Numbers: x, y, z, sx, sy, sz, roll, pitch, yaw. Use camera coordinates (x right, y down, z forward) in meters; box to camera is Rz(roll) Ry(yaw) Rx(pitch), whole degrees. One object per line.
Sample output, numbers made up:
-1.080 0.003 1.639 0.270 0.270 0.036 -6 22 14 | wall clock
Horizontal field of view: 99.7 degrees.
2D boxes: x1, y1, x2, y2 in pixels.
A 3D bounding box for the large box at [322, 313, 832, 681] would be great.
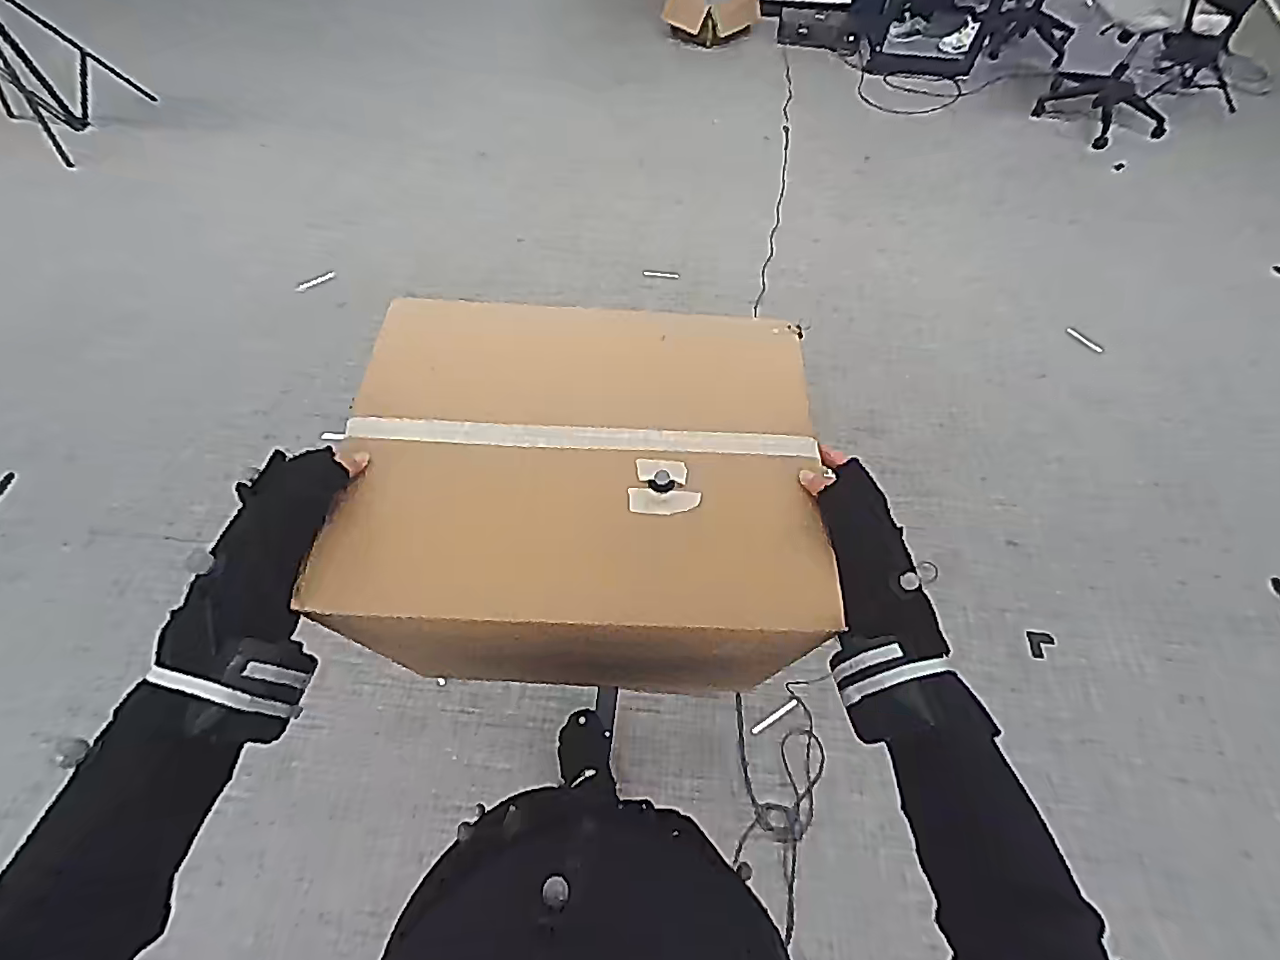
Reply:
-0.052 0.040 0.617 0.408 0.320 0.320 3 61 -2 | large box
